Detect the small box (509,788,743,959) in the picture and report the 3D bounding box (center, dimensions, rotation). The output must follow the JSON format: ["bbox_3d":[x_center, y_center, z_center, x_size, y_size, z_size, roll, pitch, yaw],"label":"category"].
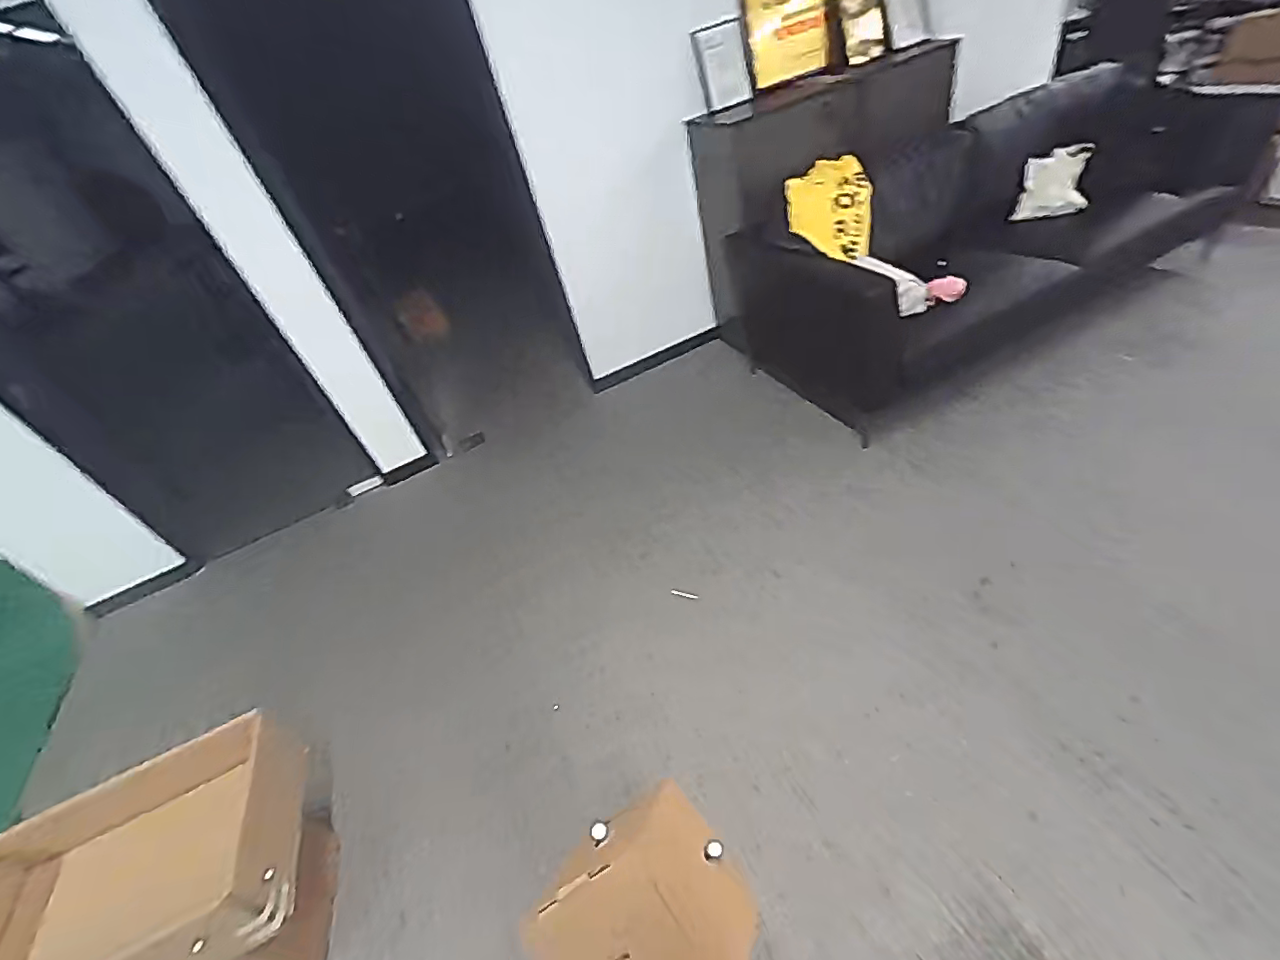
[{"bbox_3d":[-0.005,0.482,0.604,0.168,0.176,0.179,-41,77,10],"label":"small box"}]
